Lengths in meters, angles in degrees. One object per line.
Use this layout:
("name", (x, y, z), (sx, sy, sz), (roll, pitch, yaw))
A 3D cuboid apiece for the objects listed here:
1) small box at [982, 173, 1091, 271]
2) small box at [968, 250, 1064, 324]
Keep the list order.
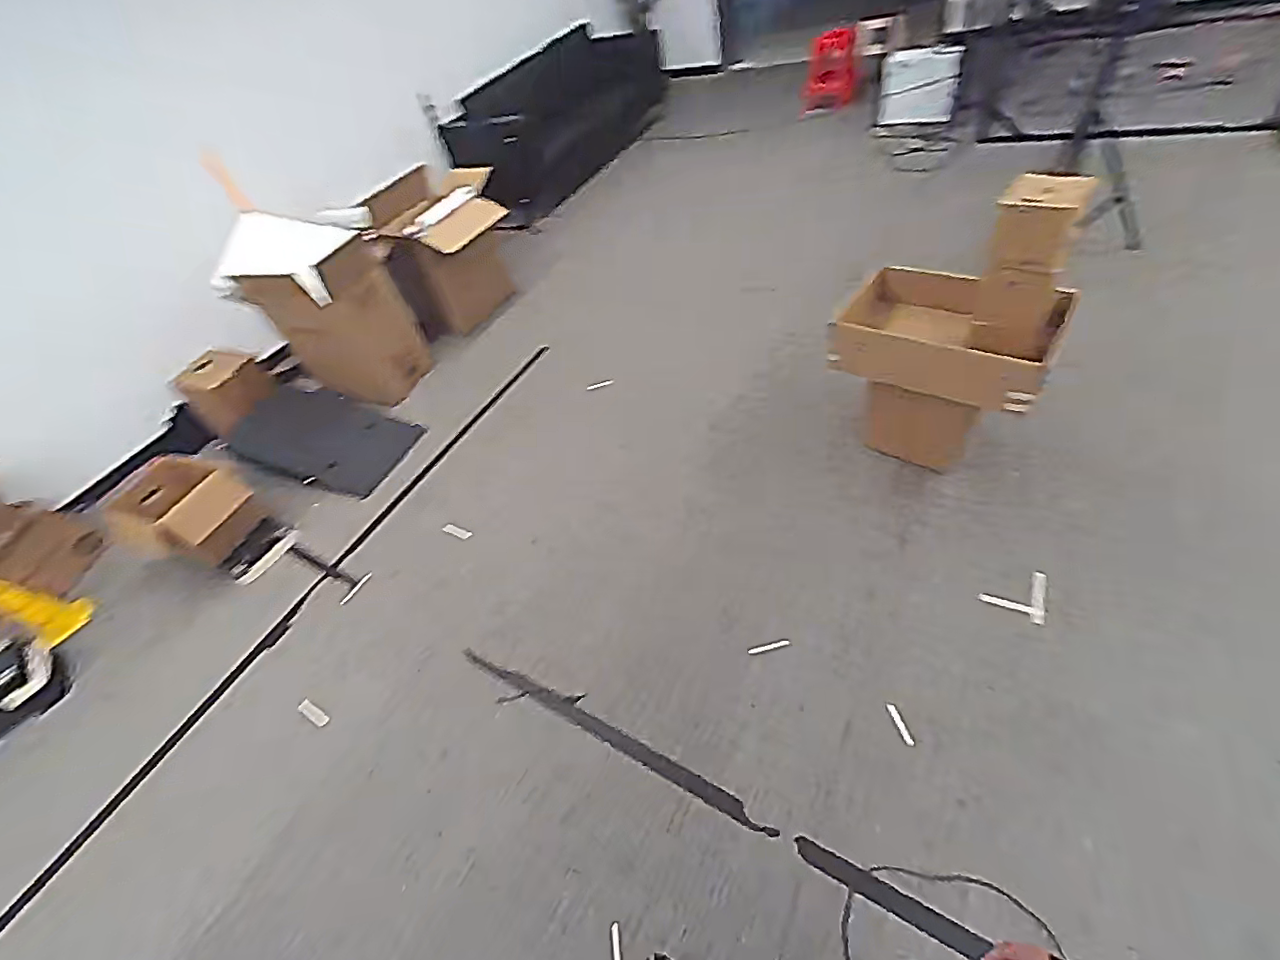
("small box", (1.014, -0.668, 1.396), (0.168, 0.176, 0.179), (26, 59, 36))
("small box", (1.047, -0.557, 1.512), (0.179, 0.176, 0.168), (21, 57, 32))
